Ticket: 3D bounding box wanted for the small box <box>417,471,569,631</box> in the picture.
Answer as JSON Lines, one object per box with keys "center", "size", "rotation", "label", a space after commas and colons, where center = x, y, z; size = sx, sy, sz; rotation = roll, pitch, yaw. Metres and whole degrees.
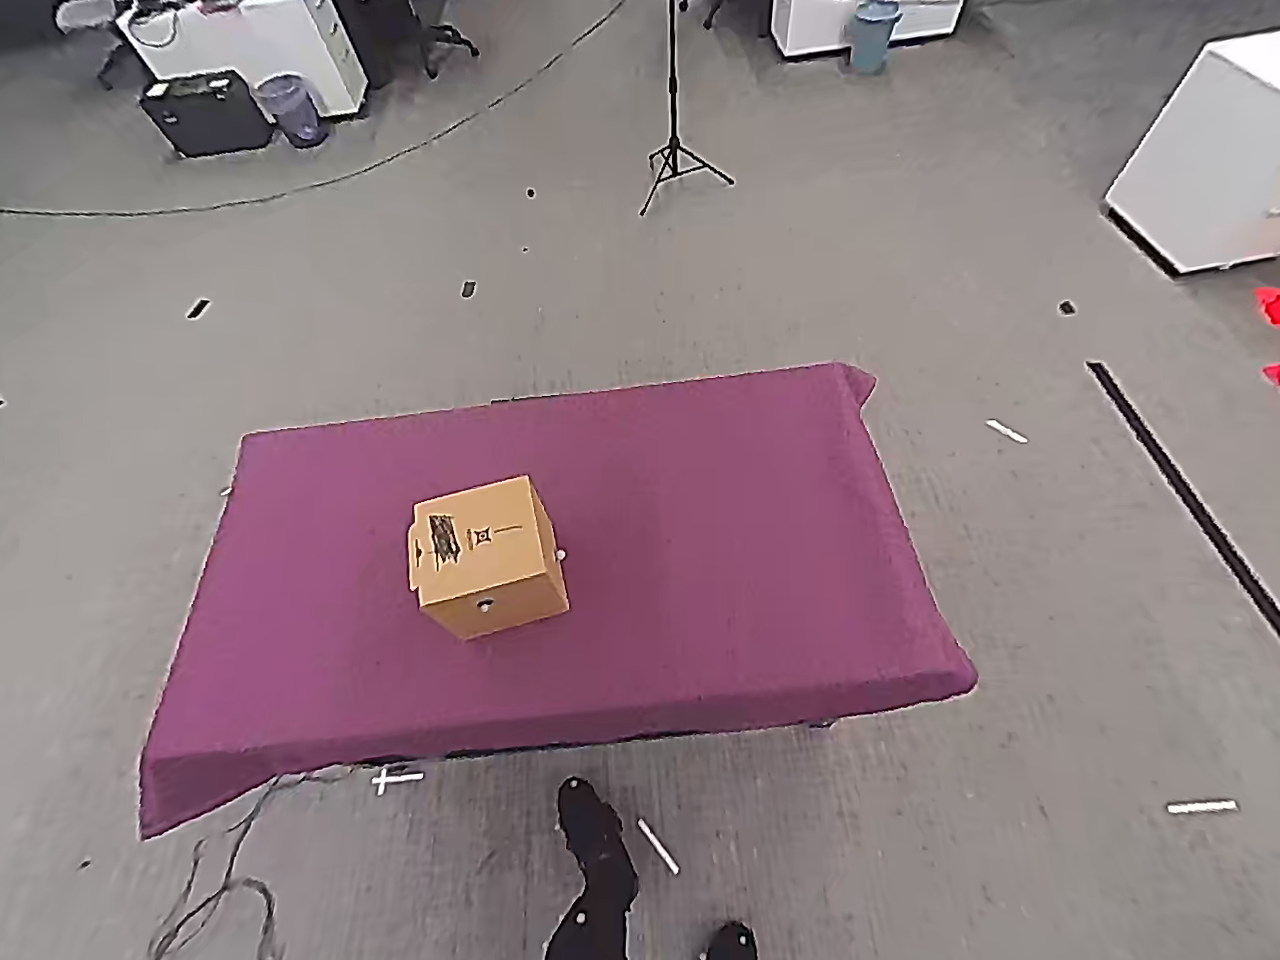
{"center": [-0.222, 0.116, 0.833], "size": [0.179, 0.176, 0.168], "rotation": [-15, 59, -4], "label": "small box"}
